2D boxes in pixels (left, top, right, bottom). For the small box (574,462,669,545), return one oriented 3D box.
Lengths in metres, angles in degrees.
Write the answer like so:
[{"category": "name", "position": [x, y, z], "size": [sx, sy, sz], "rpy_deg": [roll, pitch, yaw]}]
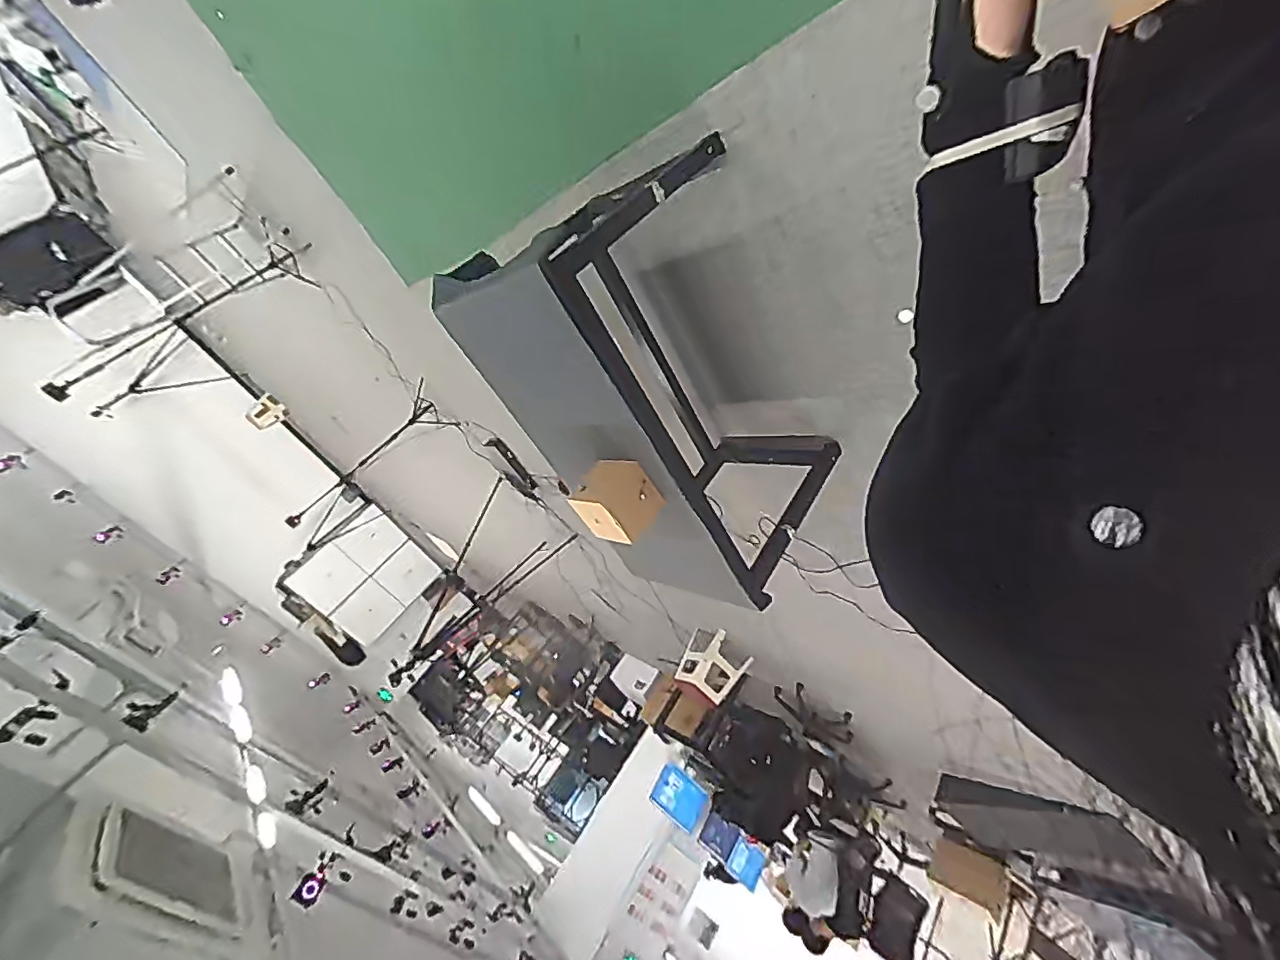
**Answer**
[{"category": "small box", "position": [-0.049, 0.060, 1.552], "size": [0.179, 0.176, 0.168], "rpy_deg": [3, 137, 50]}]
